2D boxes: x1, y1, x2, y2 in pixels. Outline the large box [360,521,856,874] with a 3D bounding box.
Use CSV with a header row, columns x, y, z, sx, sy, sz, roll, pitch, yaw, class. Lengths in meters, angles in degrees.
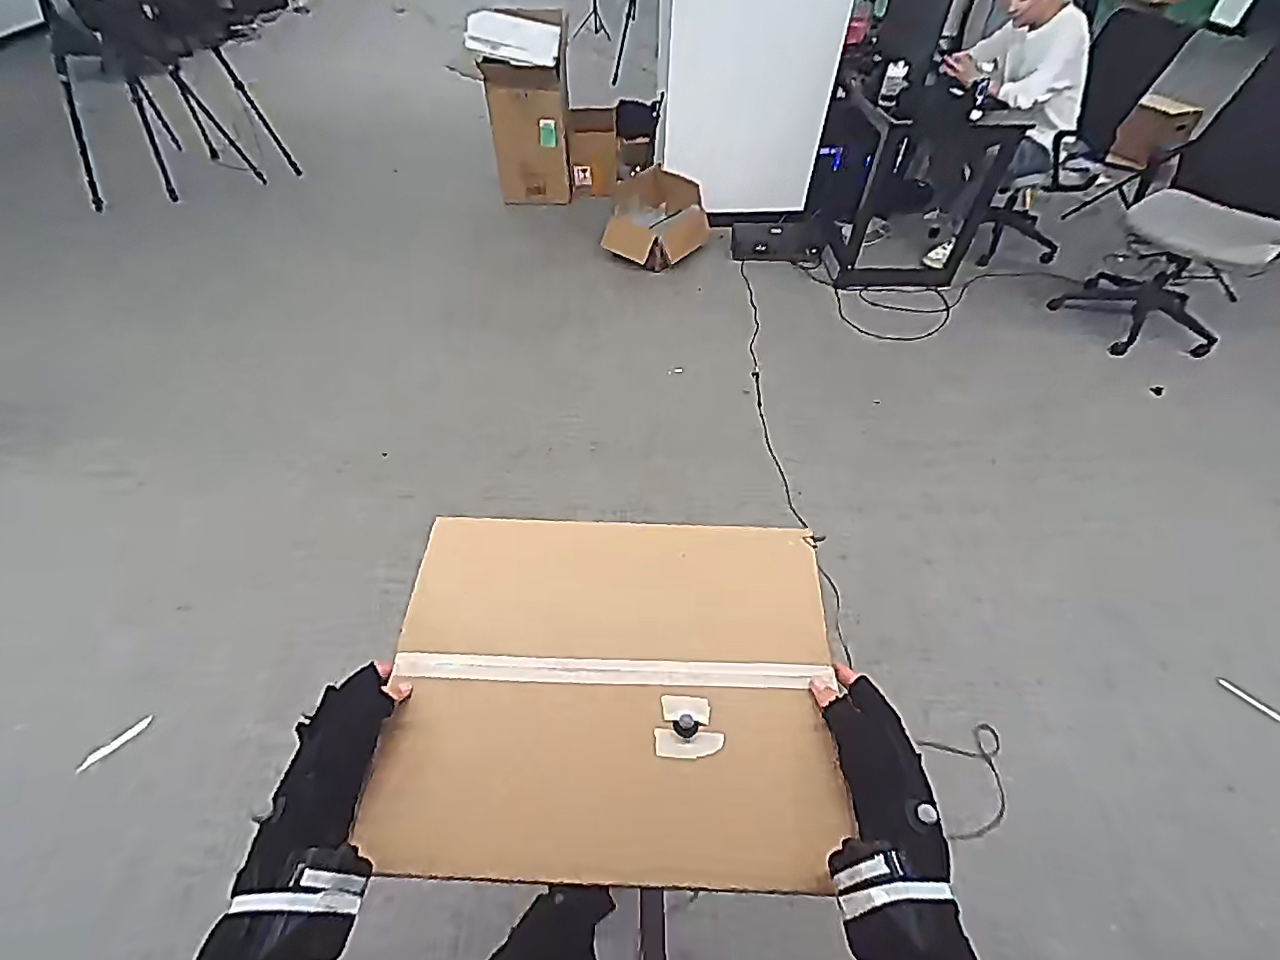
x,y,z,sx,sy,sz,roll,pitch,yaw,class
-0.024,0.261,0.632,0.408,0.320,0.320,2,56,1,large box
